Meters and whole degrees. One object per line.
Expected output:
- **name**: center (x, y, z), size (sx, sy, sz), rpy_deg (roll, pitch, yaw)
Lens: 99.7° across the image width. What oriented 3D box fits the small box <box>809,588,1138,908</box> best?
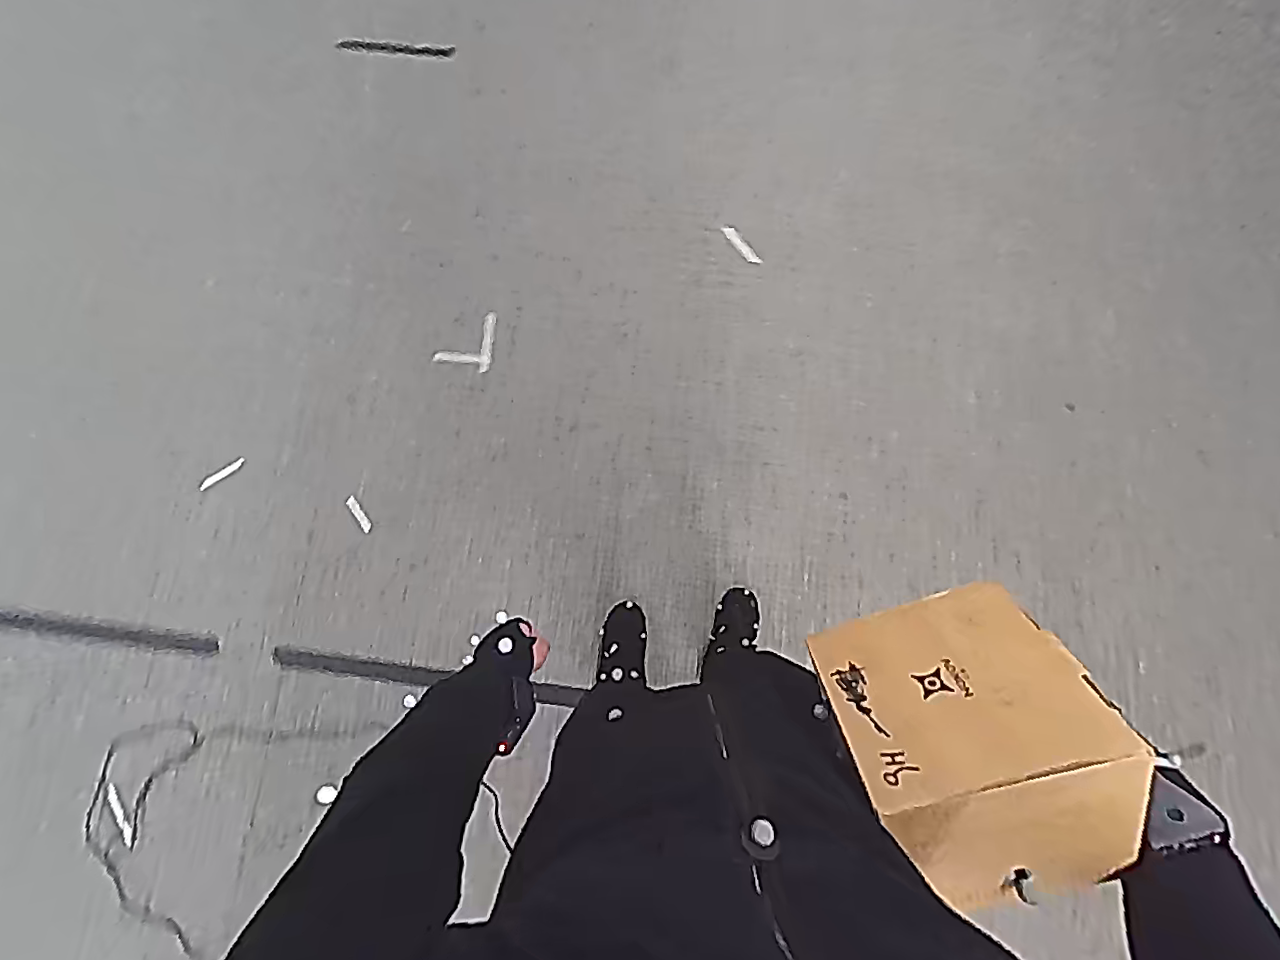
- **small box**: center (0.271, 0.231, 0.473), size (0.179, 0.168, 0.176), rpy_deg (-20, 118, 7)
